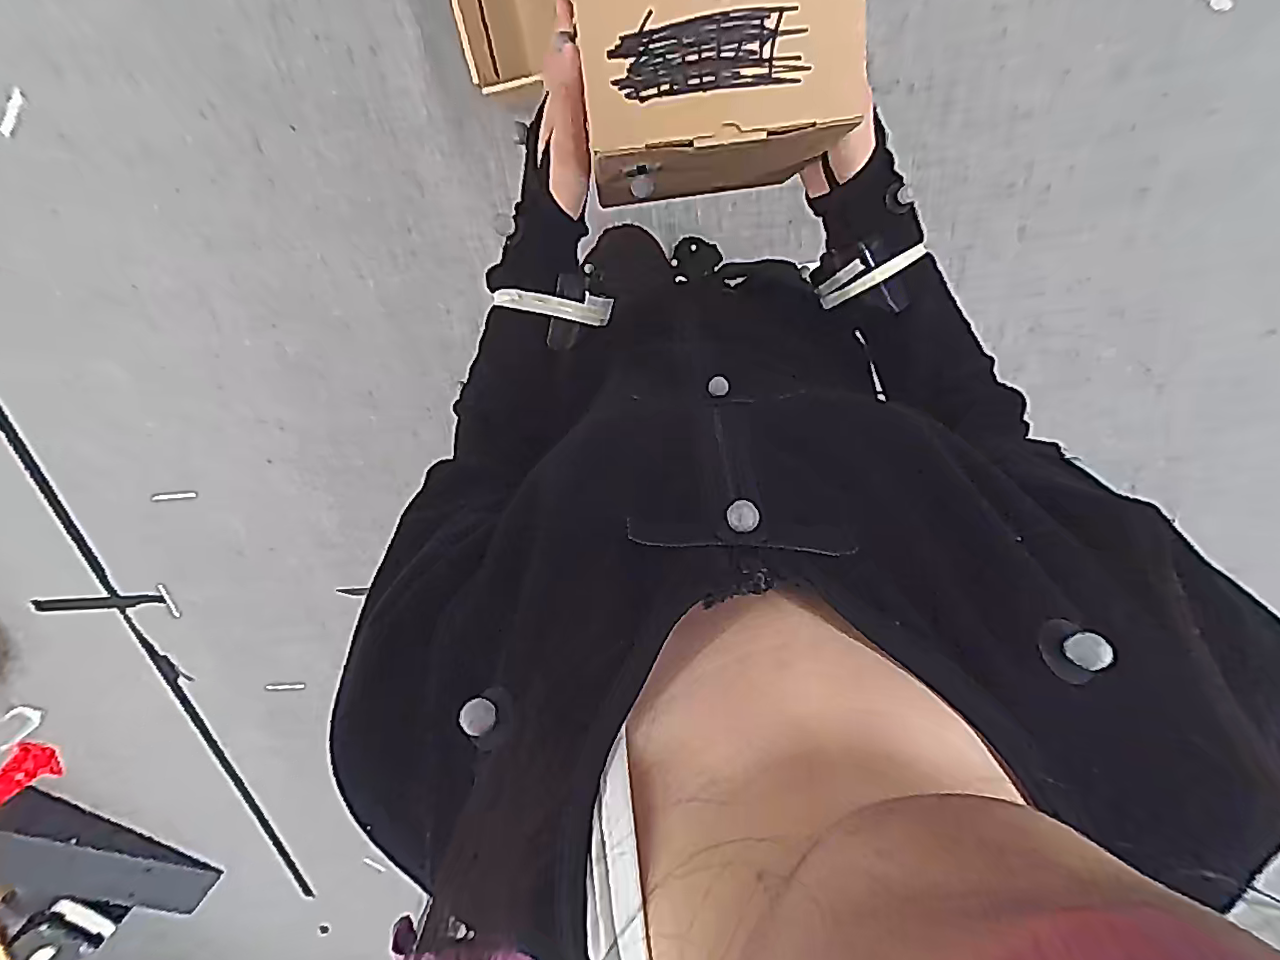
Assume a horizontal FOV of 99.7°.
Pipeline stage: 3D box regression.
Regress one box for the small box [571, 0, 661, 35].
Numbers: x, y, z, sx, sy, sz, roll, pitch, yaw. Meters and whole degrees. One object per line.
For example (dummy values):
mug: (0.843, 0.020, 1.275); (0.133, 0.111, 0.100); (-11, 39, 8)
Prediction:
small box: (-0.061, -0.978, 1.000); (0.168, 0.176, 0.179); (-13, 114, 10)
